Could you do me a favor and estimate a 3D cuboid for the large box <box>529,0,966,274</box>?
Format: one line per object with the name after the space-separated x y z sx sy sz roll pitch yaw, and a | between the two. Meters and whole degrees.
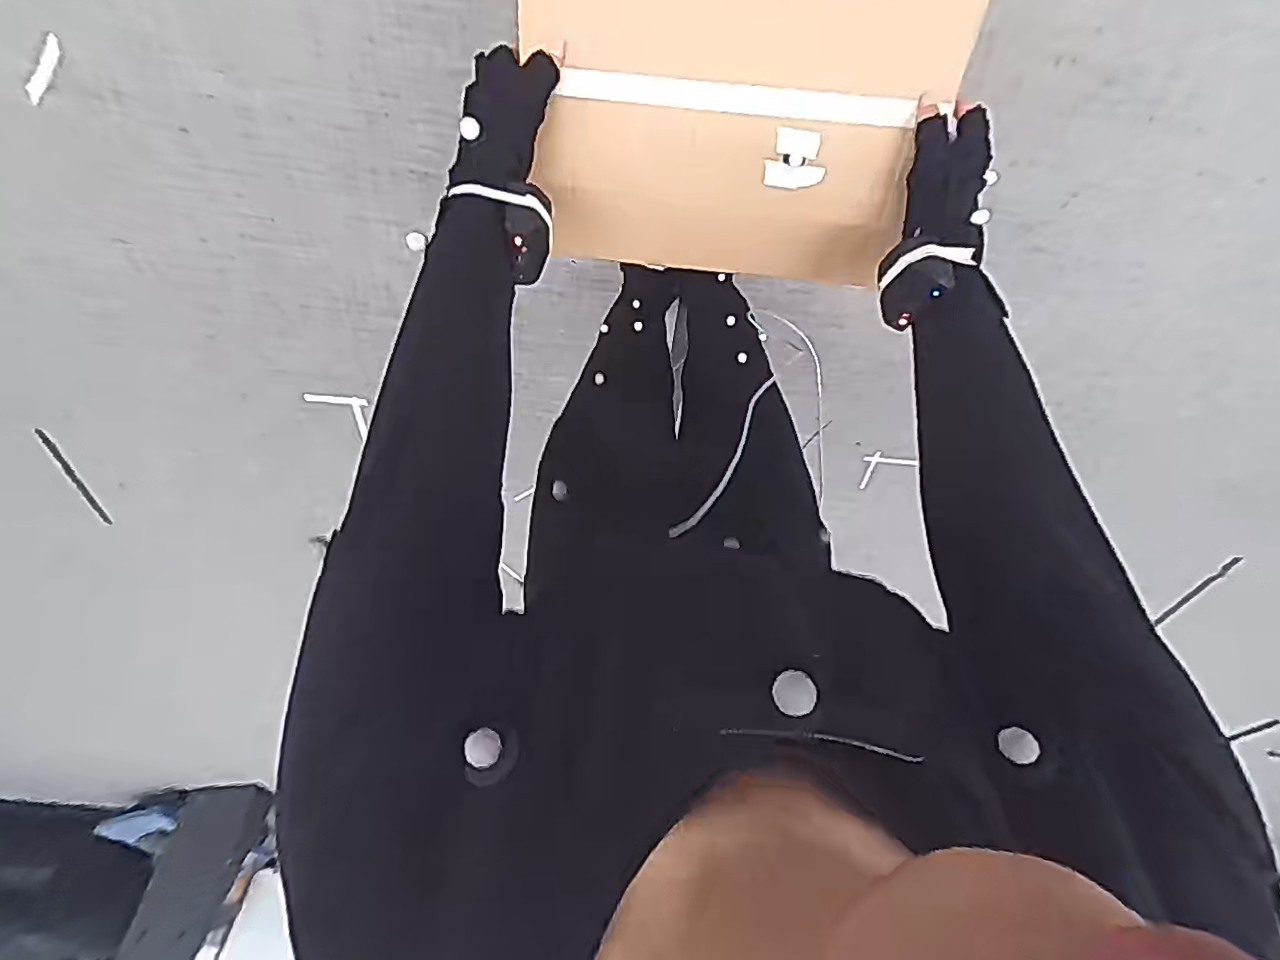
0.095 -0.456 0.657 0.408 0.320 0.320 5 124 -1 | large box
